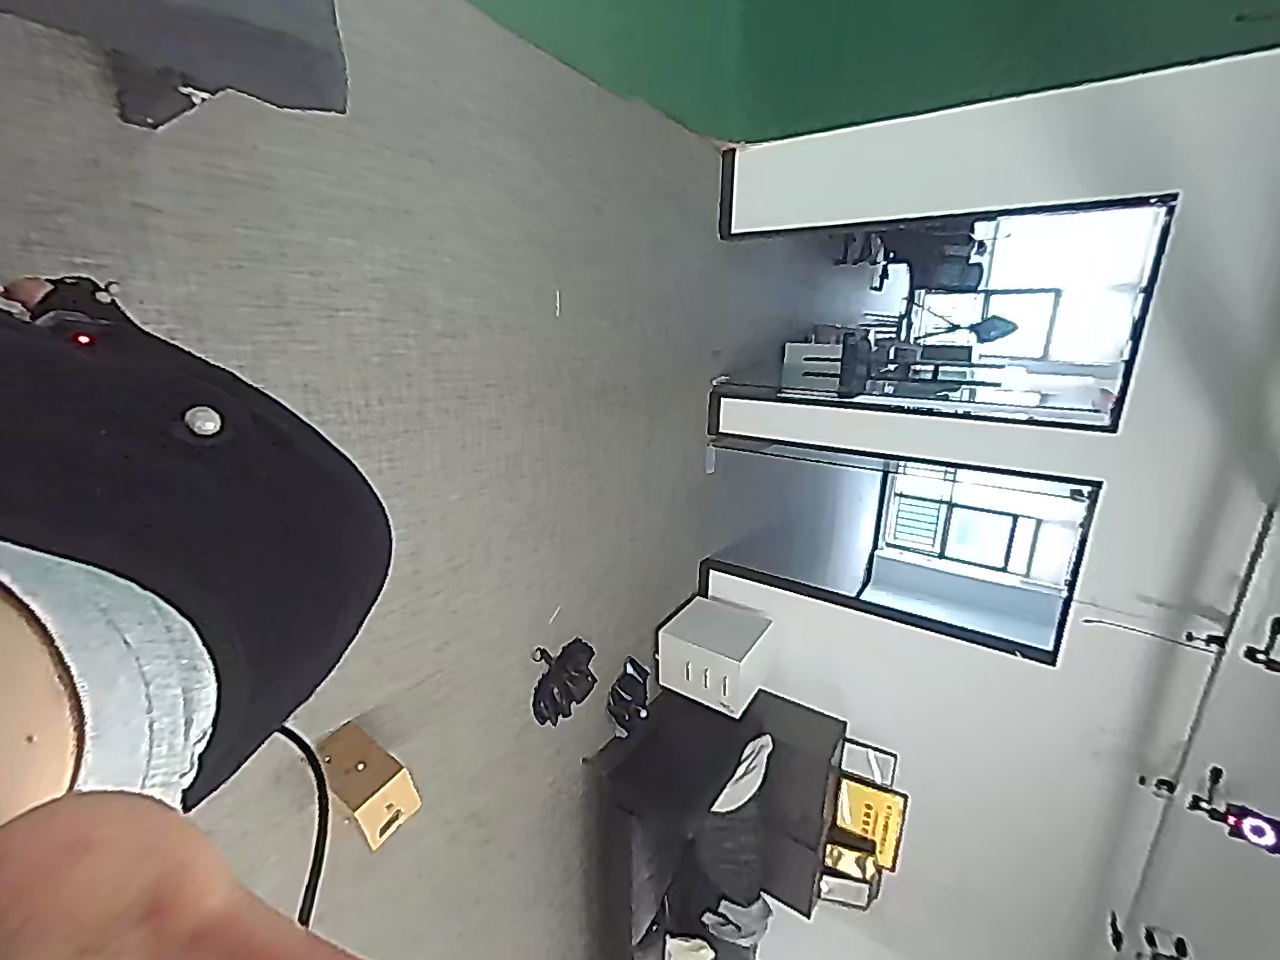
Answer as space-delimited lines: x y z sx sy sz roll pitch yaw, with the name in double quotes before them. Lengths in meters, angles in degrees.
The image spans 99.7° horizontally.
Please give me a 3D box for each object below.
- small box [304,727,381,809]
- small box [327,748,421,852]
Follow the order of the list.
"small box" -0.922 0.916 1.709 0.168 0.176 0.179 -36 130 -45
"small box" -0.791 0.944 1.612 0.168 0.176 0.179 -35 126 -46
